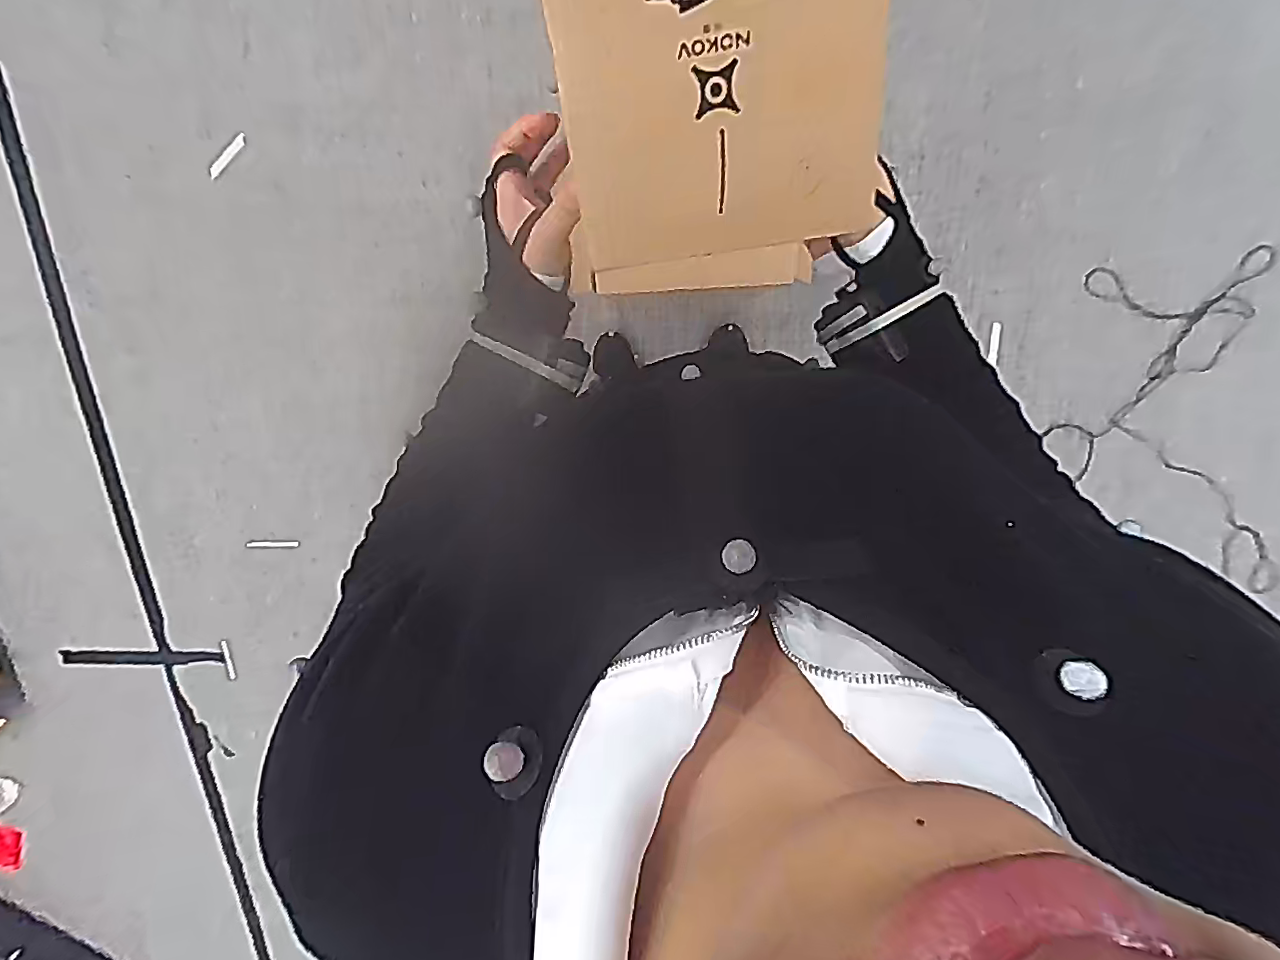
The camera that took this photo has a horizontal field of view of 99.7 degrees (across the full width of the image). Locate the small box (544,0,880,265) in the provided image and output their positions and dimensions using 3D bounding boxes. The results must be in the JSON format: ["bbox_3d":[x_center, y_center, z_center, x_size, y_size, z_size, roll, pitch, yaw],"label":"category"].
[{"bbox_3d":[0.039,-0.251,0.347,0.168,0.176,0.179,-5,121,6],"label":"small box"}]
